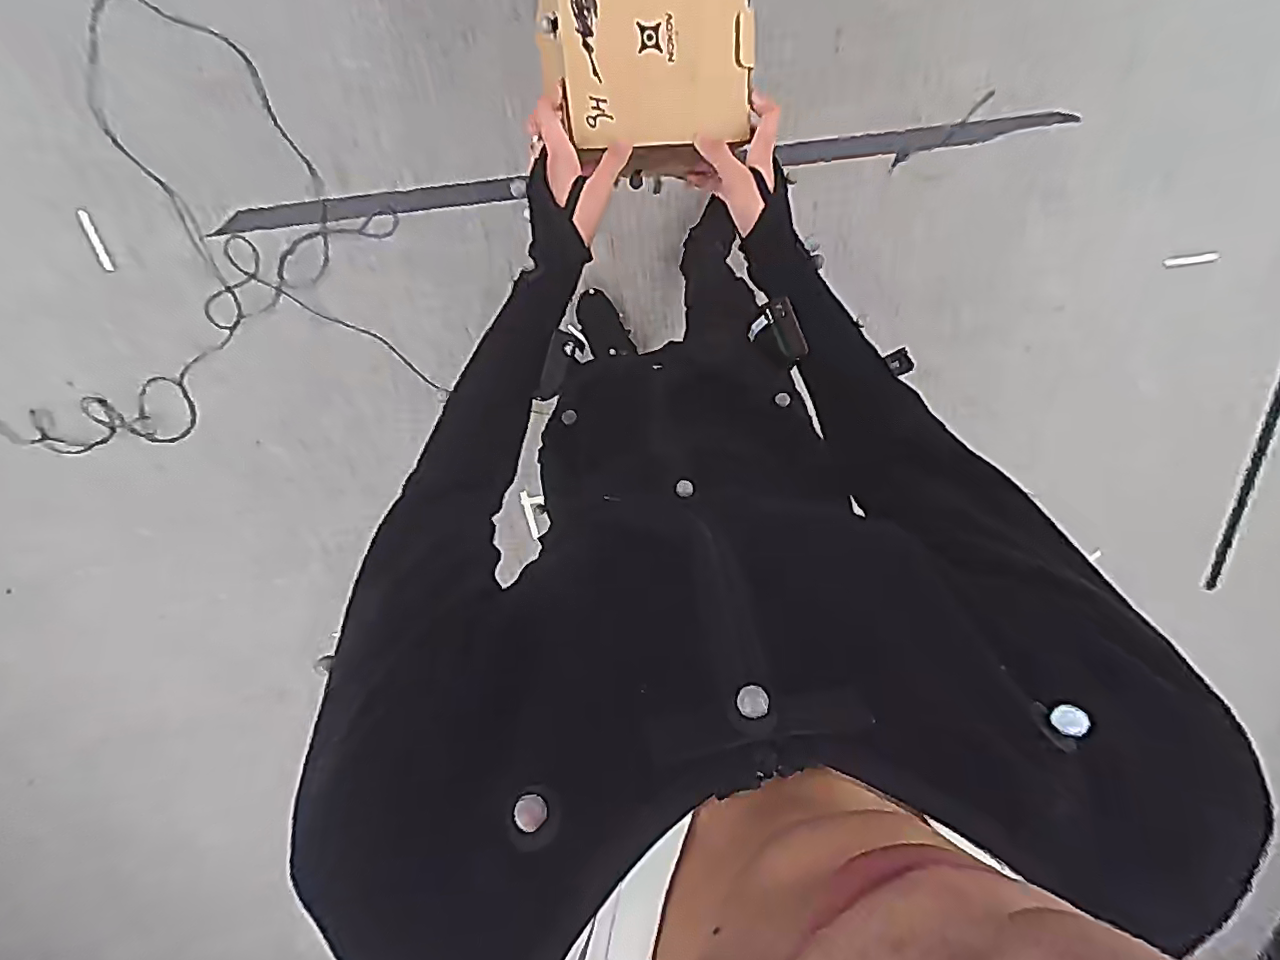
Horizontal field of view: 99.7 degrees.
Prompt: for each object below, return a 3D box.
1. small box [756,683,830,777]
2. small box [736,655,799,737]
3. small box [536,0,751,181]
[{"bbox_3d":[0.452,0.740,1.609,0.168,0.176,0.179,-10,113,-2],"label":"small box"},{"bbox_3d":[0.428,0.699,1.769,0.179,0.176,0.168,-13,114,1],"label":"small box"},{"bbox_3d":[-0.003,-0.413,0.549,0.179,0.176,0.168,-10,111,-11],"label":"small box"}]
